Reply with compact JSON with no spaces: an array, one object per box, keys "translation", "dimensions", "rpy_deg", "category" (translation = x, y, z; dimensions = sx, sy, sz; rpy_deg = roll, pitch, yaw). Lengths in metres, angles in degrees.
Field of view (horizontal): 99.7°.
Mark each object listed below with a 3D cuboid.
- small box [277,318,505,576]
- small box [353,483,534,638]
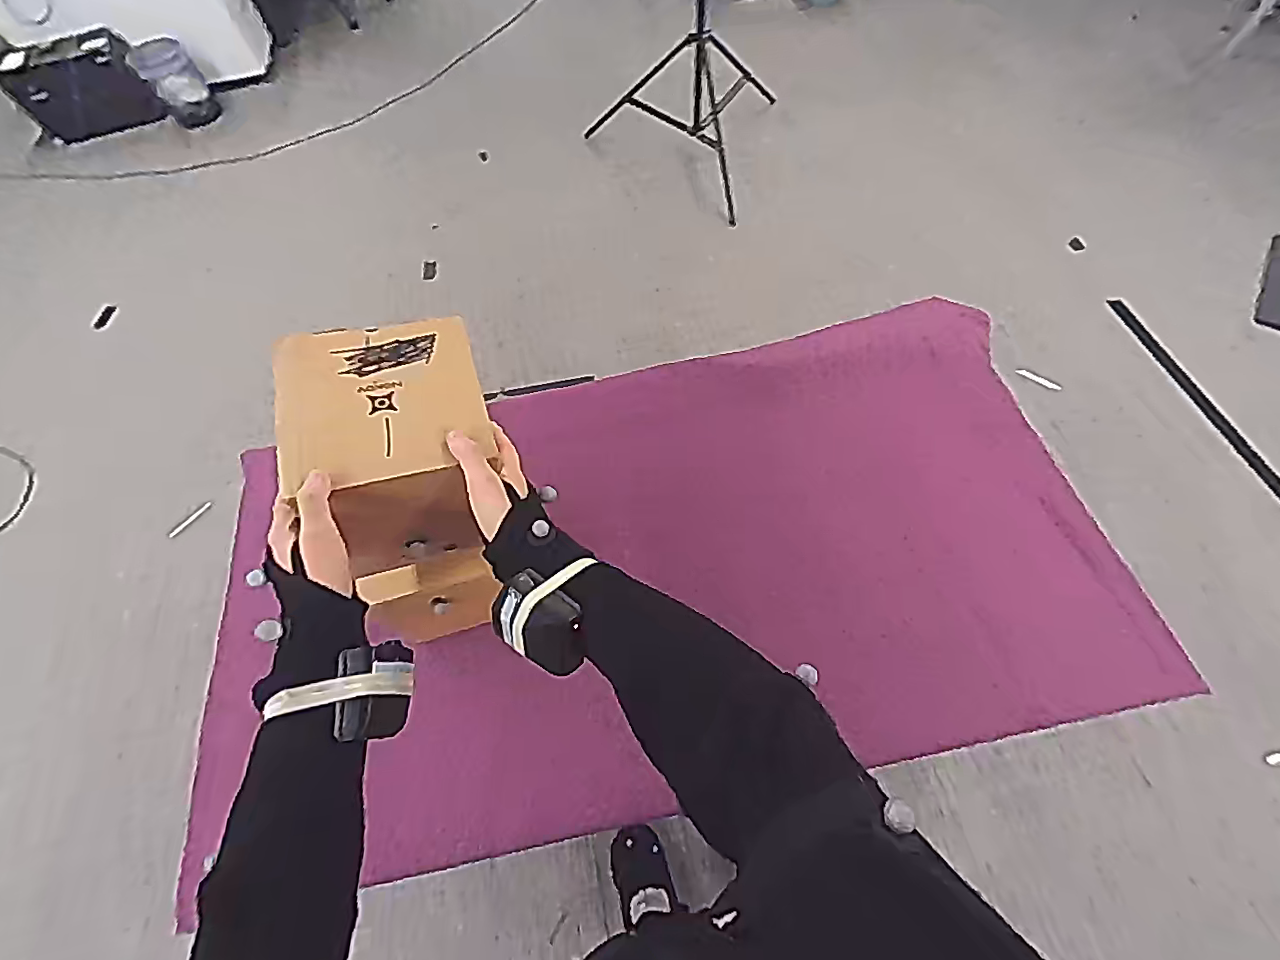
[{"translation":[-0.233,-0.030,0.532],"dimensions":[0.168,0.176,0.179],"rpy_deg":[-12,62,-18],"category":"small box"},{"translation":[-0.245,0.090,0.702],"dimensions":[0.179,0.176,0.168],"rpy_deg":[-16,62,-4],"category":"small box"}]
